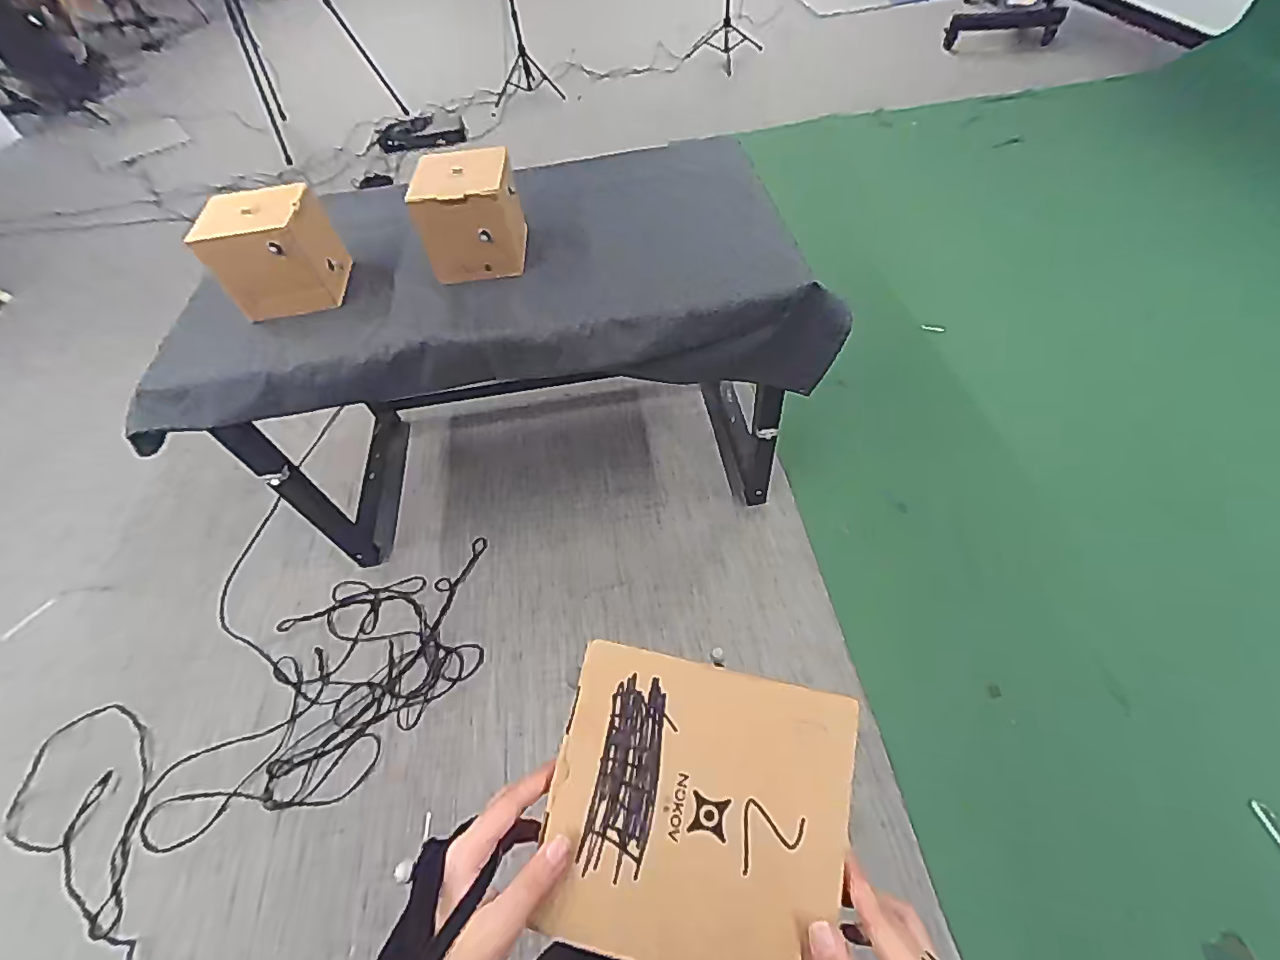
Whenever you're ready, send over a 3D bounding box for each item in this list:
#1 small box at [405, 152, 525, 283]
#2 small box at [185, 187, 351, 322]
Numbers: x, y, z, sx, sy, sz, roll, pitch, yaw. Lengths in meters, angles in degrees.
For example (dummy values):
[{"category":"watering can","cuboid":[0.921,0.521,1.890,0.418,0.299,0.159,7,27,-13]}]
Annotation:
[{"category":"small box","cuboid":[-0.323,-0.495,1.035,0.168,0.176,0.179,-6,52,0]},{"category":"small box","cuboid":[-0.681,-0.417,1.014,0.179,0.176,0.168,-10,53,-2]}]
